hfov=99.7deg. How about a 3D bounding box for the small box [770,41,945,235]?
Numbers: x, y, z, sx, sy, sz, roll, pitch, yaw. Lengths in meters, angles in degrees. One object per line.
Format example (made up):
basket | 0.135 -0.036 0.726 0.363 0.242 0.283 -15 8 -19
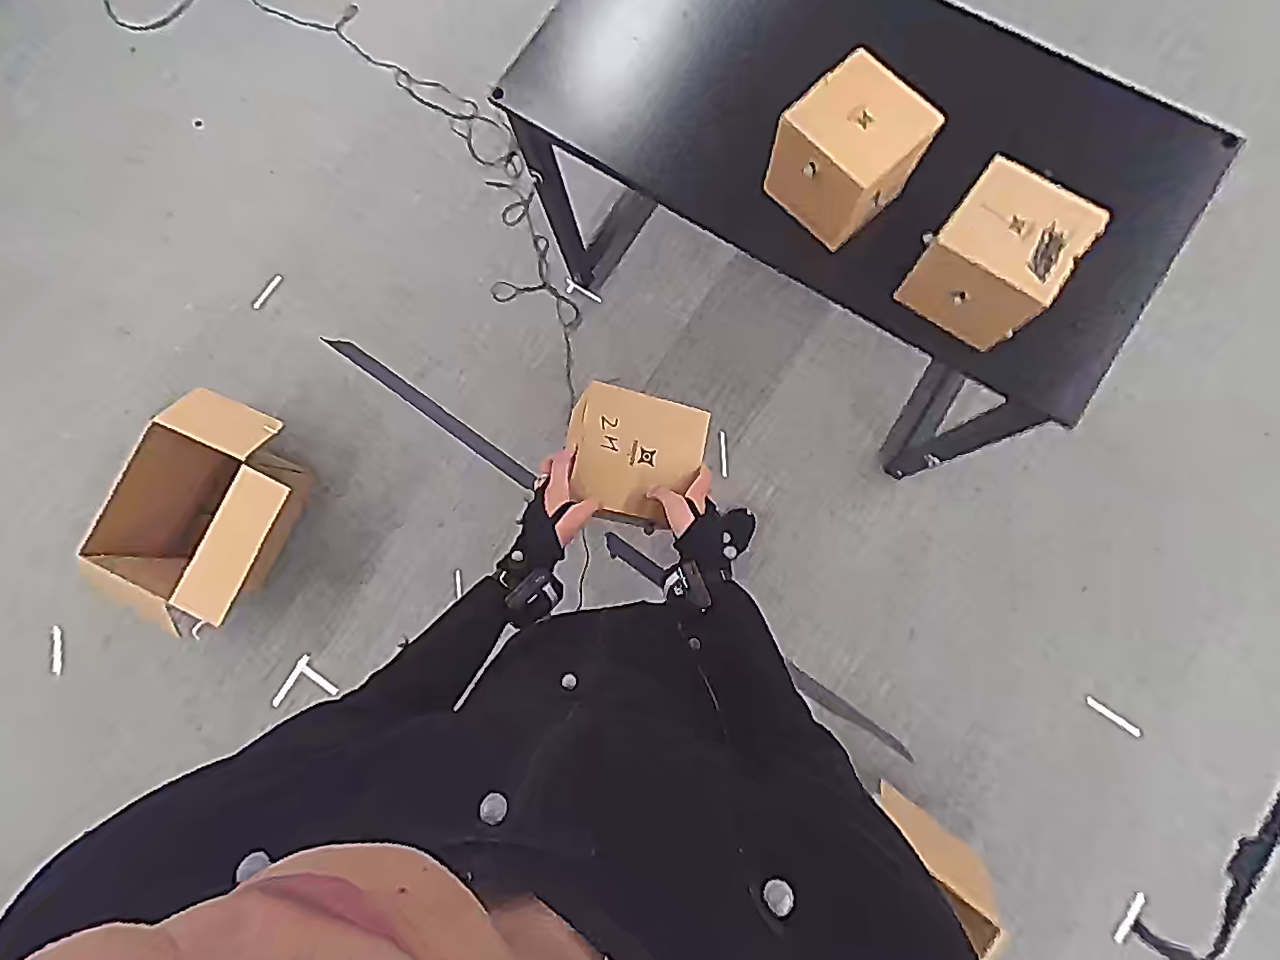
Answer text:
small box | 0.335 -0.532 0.872 0.168 0.176 0.179 -42 80 -3

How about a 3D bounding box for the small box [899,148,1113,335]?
small box | 0.541 -0.347 0.828 0.179 0.176 0.168 36 86 10

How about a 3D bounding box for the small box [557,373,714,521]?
small box | -0.015 -0.035 0.788 0.179 0.176 0.168 12 81 -12
